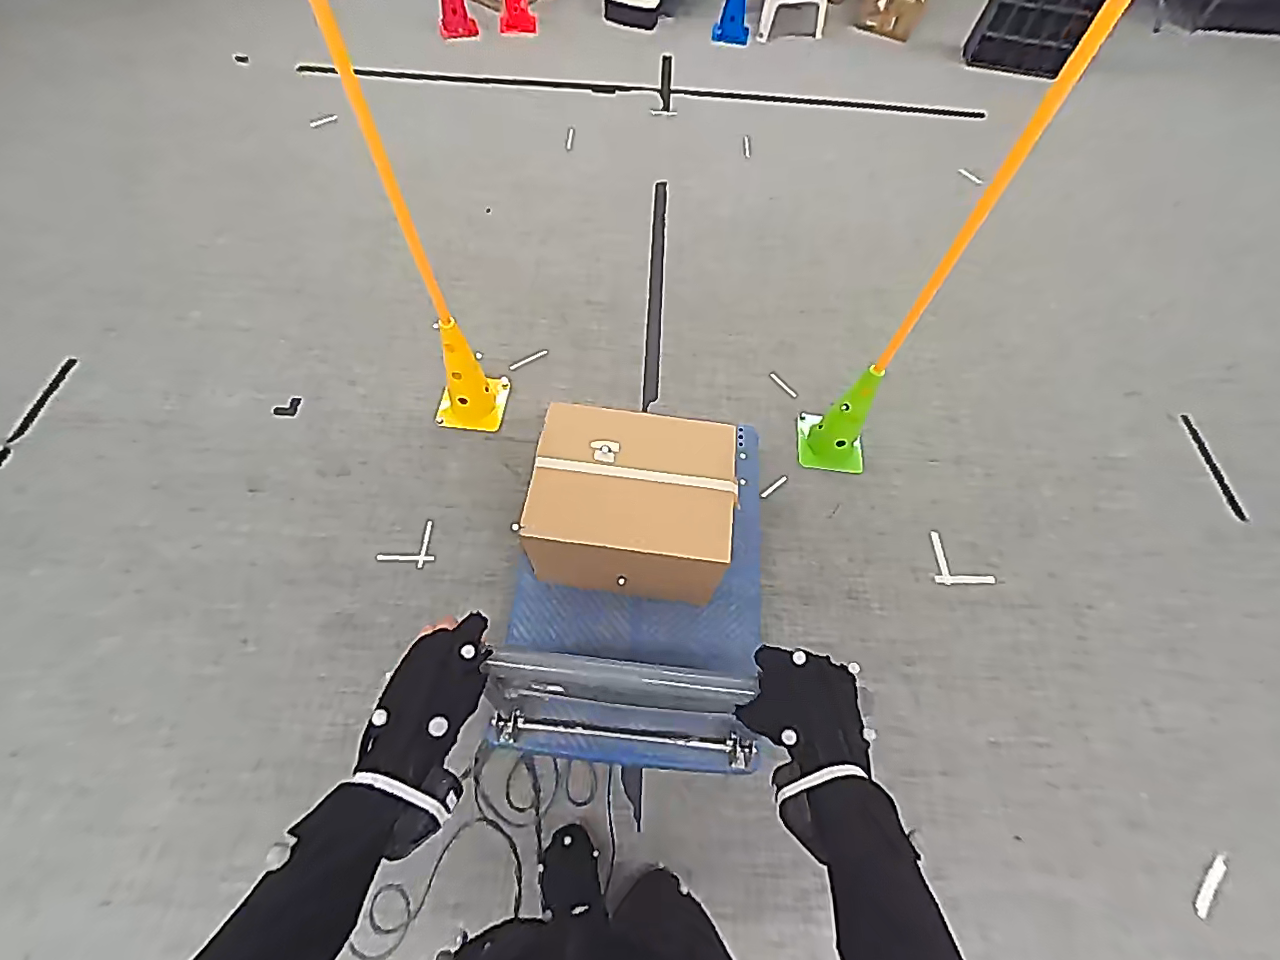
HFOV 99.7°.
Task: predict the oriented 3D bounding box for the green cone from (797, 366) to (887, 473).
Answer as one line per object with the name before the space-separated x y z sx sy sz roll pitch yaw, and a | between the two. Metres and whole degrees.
green cone | 0.612 -0.197 1.571 0.202 0.368 0.200 7 62 -1

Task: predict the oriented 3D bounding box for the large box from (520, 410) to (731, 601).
large box | -0.020 0.071 1.230 0.408 0.320 0.320 7 62 2
